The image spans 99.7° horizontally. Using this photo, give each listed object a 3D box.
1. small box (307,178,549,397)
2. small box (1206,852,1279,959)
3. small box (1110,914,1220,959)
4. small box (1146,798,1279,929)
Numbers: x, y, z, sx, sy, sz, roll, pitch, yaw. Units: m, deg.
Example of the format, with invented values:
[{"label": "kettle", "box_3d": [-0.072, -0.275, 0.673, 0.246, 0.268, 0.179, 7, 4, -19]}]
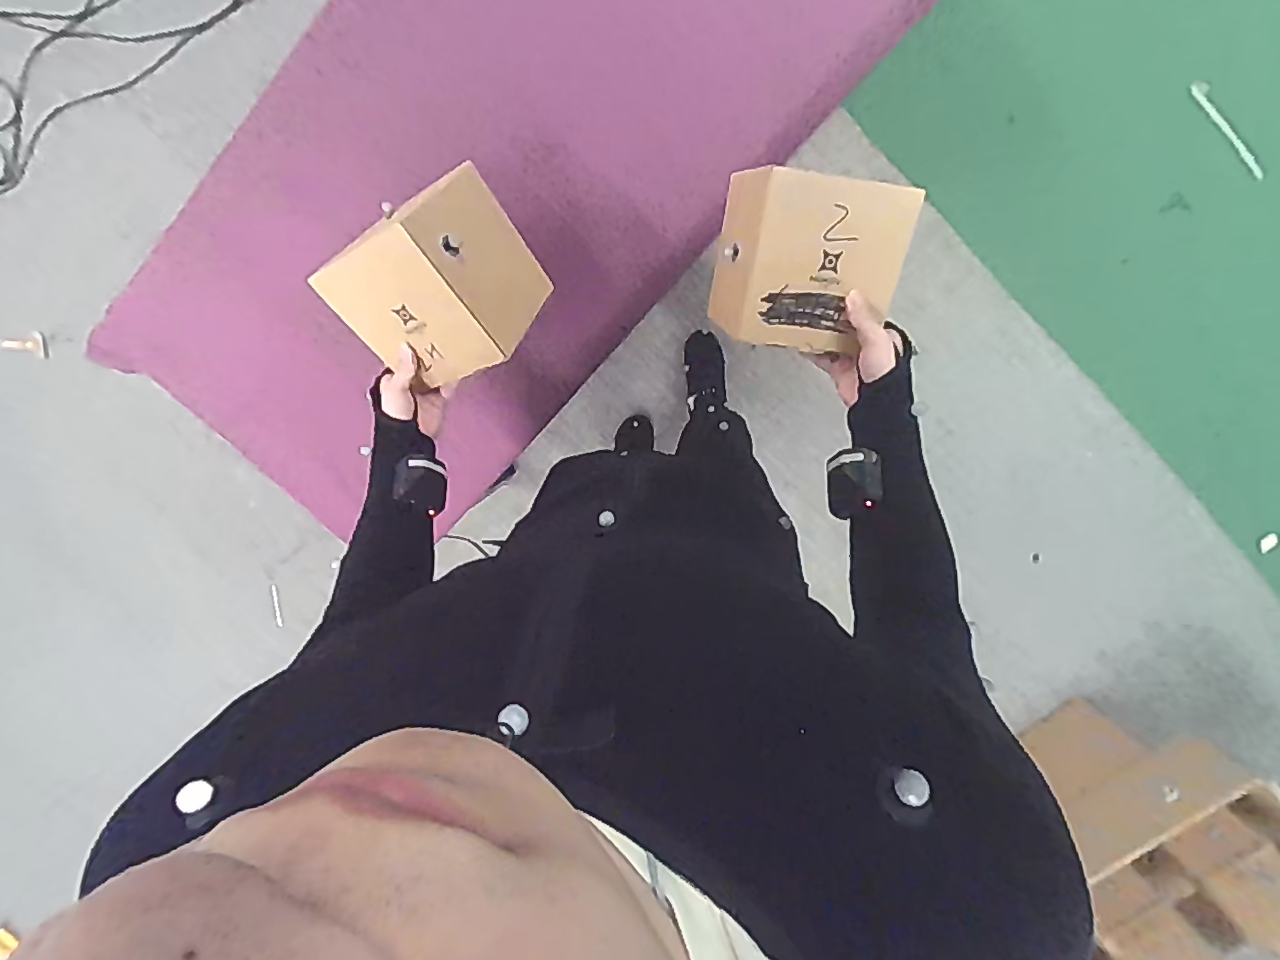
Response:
[{"label": "small box", "box_3d": [-0.241, -0.235, 0.656, 0.168, 0.176, 0.179, -10, 133, 29]}, {"label": "small box", "box_3d": [1.424, 0.971, 1.180, 0.168, 0.176, 0.179, -37, 98, 8]}, {"label": "small box", "box_3d": [1.221, 1.125, 1.208, 0.168, 0.176, 0.179, -38, 98, 8]}, {"label": "small box", "box_3d": [1.435, 0.941, 1.341, 0.179, 0.176, 0.168, -38, 98, 7]}]
